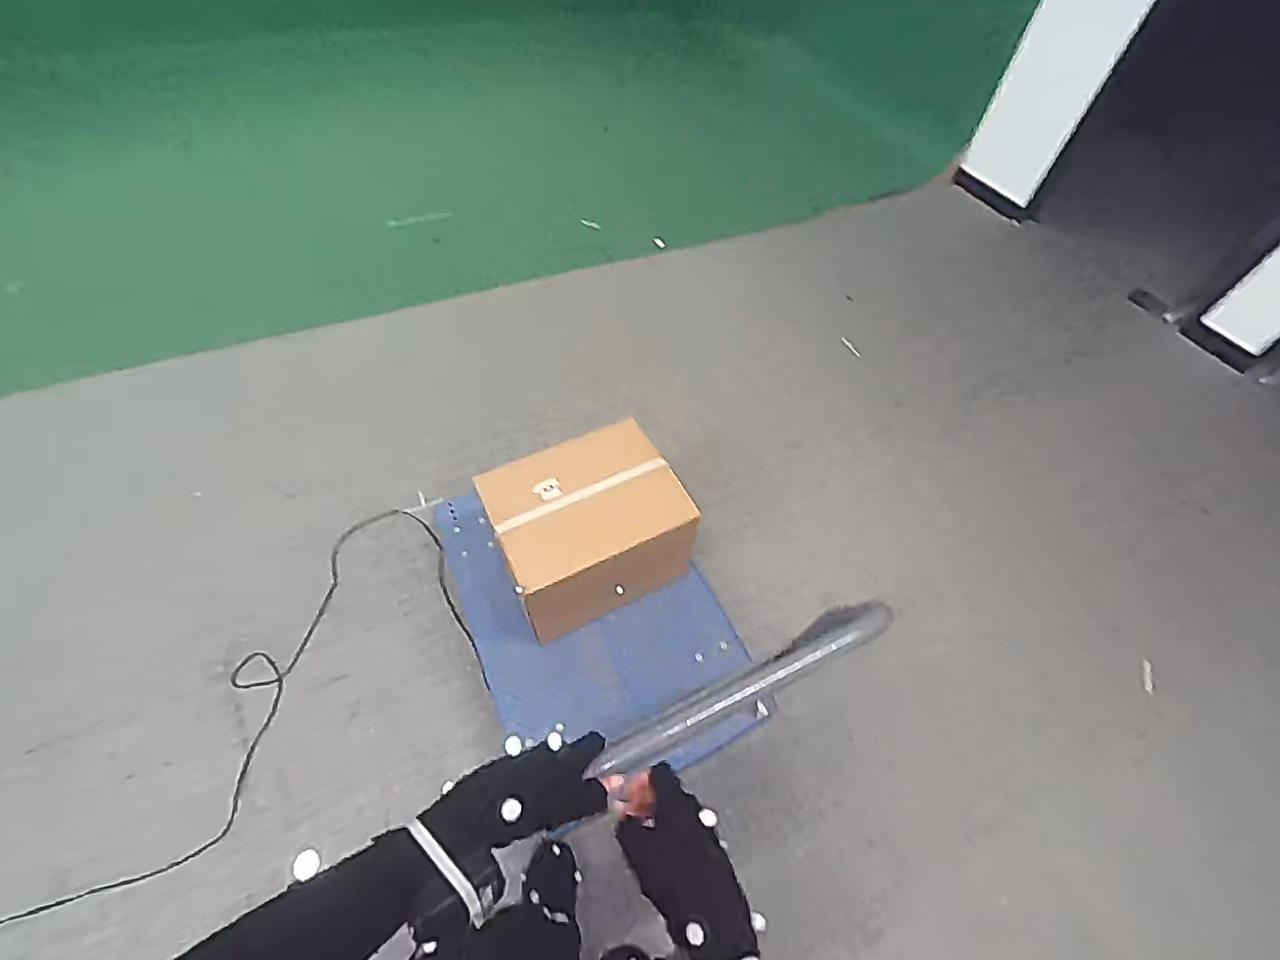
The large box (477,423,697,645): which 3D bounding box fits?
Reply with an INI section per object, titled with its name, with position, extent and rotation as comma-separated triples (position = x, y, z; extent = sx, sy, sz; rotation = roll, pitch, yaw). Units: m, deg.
[large box]
position = -0.121, 0.130, 1.298
extent = 0.408, 0.320, 0.320
rotation = -23, 58, -17
